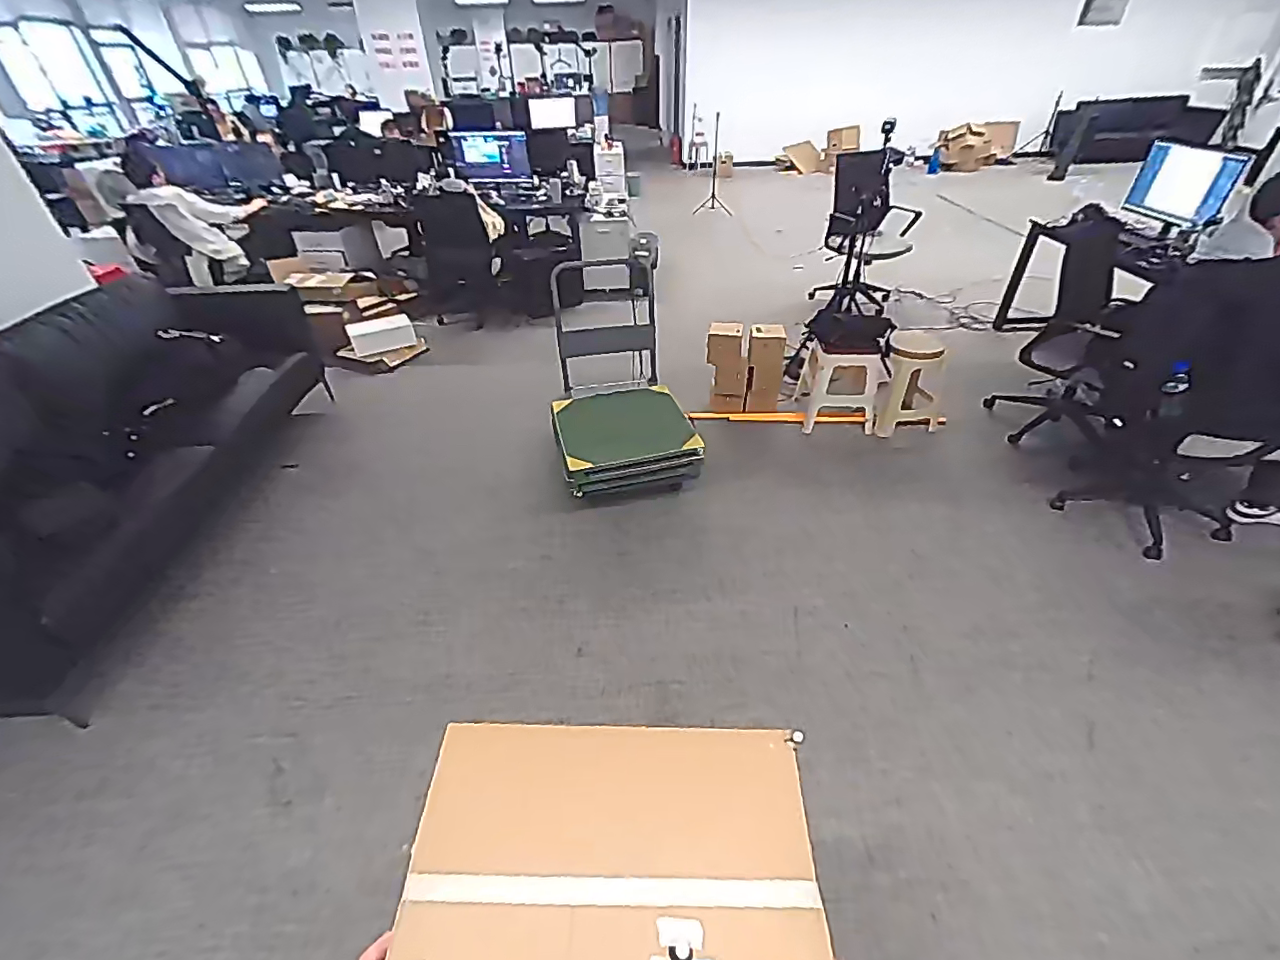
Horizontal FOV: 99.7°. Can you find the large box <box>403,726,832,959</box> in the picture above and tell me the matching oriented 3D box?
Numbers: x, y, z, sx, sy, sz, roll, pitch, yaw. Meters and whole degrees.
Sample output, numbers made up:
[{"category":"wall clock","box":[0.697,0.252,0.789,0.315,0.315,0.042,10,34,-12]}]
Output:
[{"category":"large box","box":[-0.023,0.508,0.639,0.408,0.320,0.320,1,46,0]}]
